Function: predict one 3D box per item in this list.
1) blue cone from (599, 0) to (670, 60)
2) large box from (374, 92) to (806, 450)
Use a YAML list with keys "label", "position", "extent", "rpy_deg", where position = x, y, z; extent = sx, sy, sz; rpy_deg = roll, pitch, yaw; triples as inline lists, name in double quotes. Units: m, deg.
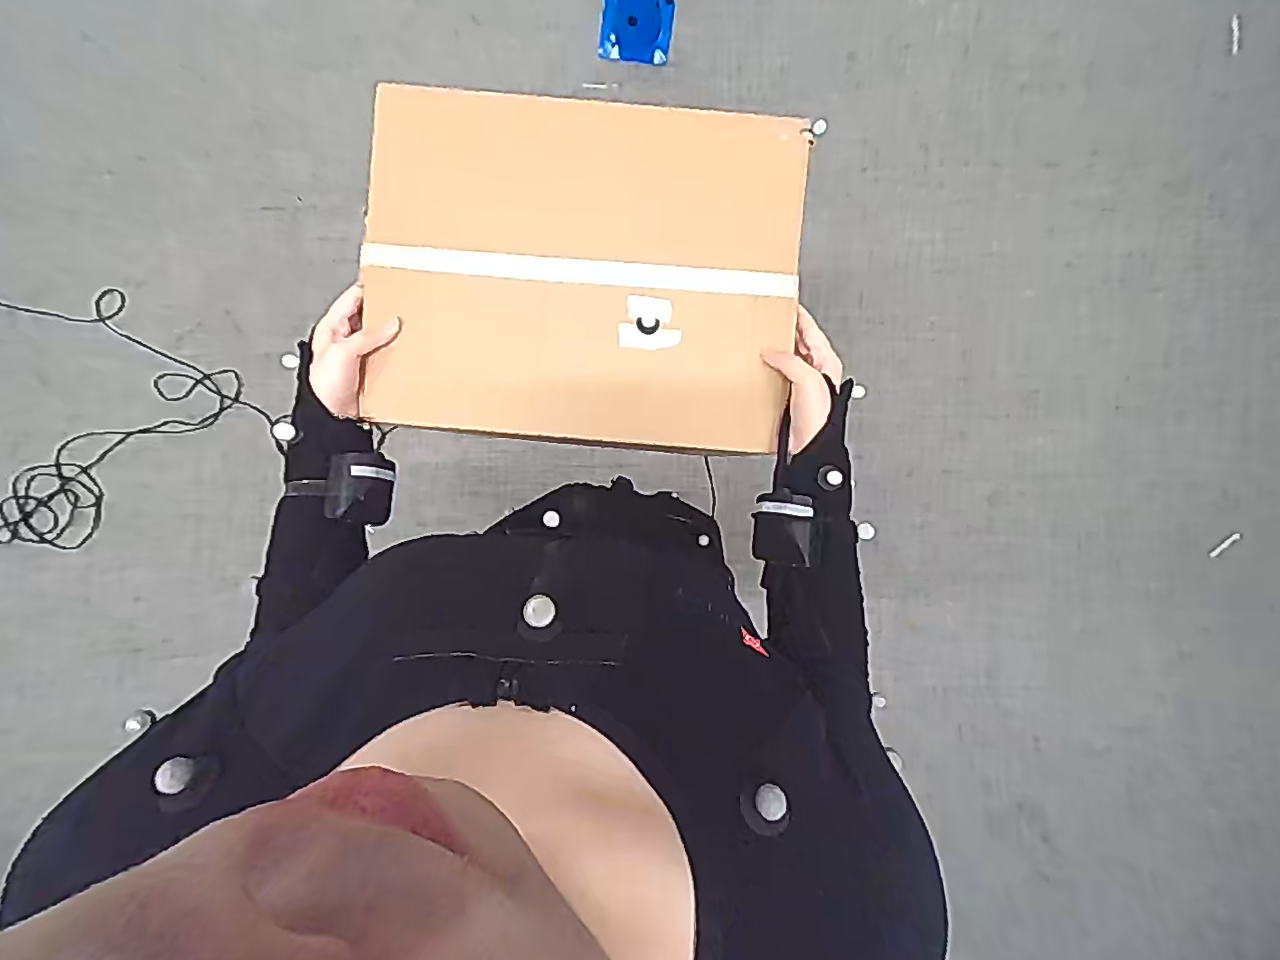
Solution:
- label: "blue cone"
  position: [-0.018, -1.287, 1.360]
  extent: [0.193, 0.380, 0.192]
  rpy_deg: [9, 89, 1]
- label: "large box"
  position: [-0.053, -0.205, 0.663]
  extent: [0.408, 0.320, 0.320]
  rpy_deg: [4, 93, -2]
